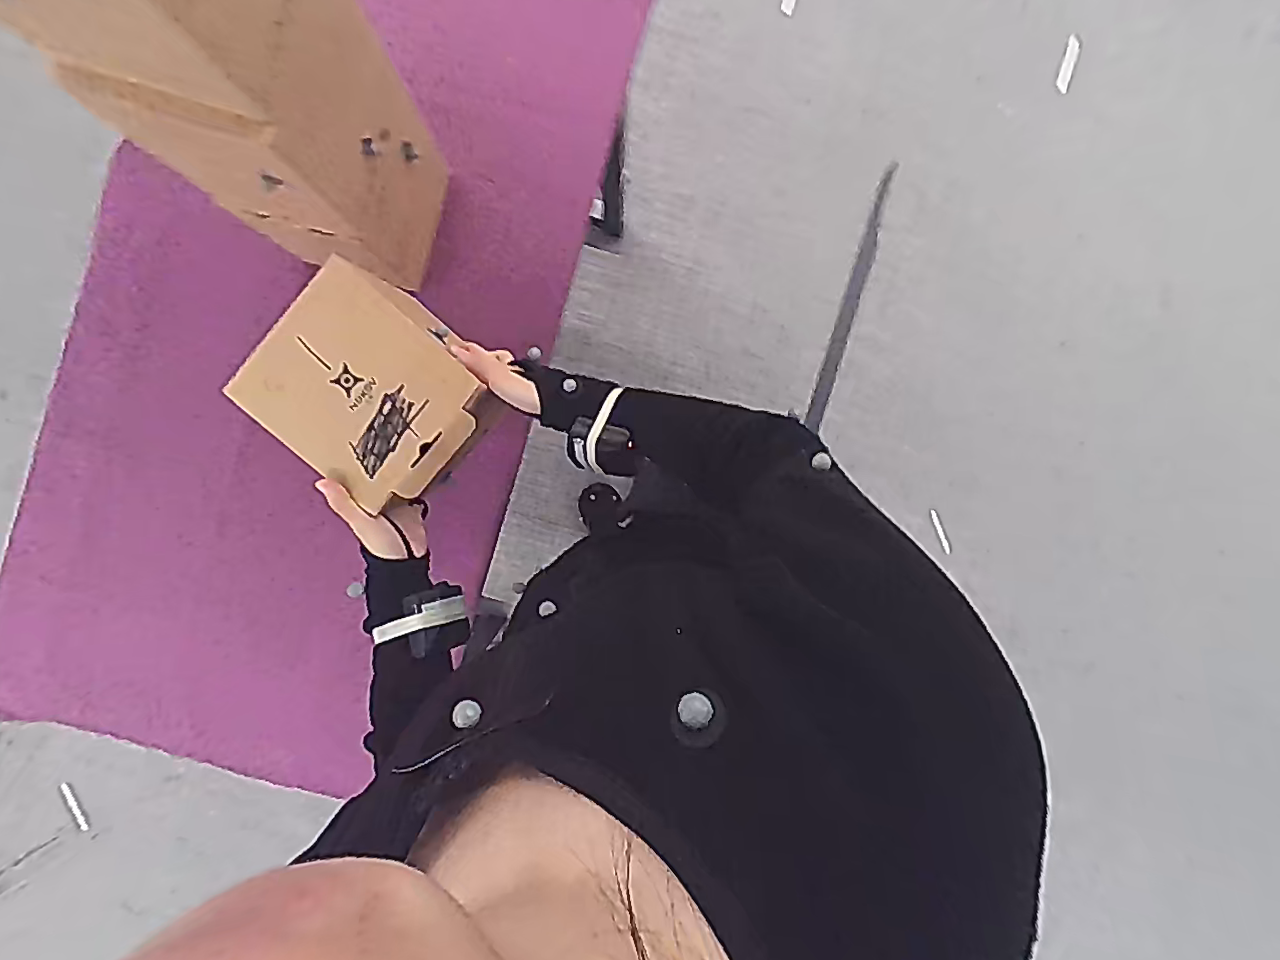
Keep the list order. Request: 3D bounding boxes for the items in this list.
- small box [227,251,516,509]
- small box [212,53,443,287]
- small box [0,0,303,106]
[{"bbox_3d":[-0.256,-0.098,0.567,0.179,0.176,0.168,43,94,-4],"label":"small box"},{"bbox_3d":[-0.359,-0.364,0.659,0.168,0.176,0.179,15,91,-1],"label":"small box"},{"bbox_3d":[-0.343,-0.376,0.332,0.179,0.176,0.168,15,91,-2],"label":"small box"}]
